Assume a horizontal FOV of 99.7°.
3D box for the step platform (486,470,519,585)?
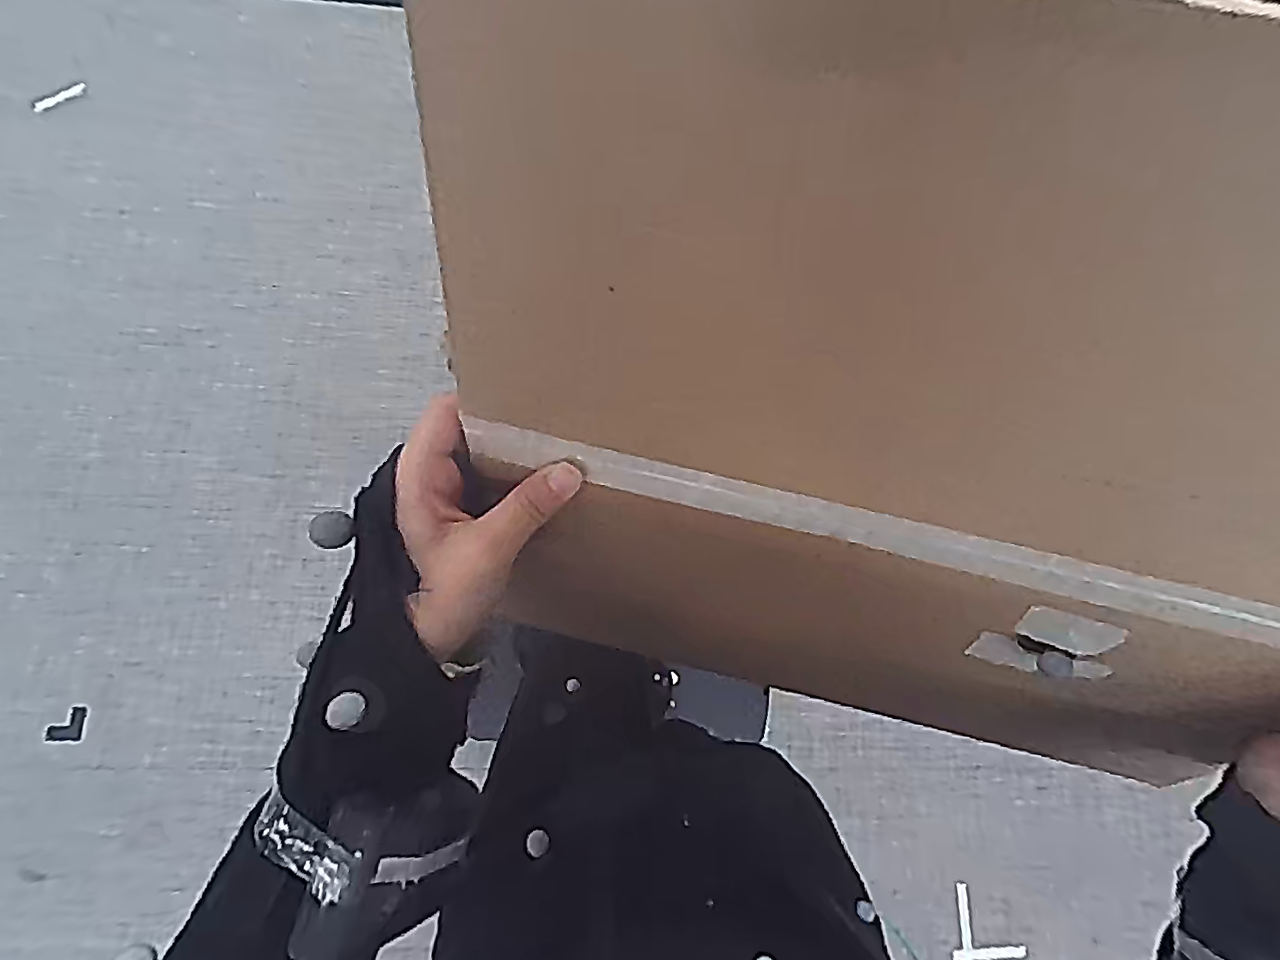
[{"bbox_3d":[0.010,0.129,1.213,0.684,0.204,0.286,9,79,-4],"label":"step platform"}]
